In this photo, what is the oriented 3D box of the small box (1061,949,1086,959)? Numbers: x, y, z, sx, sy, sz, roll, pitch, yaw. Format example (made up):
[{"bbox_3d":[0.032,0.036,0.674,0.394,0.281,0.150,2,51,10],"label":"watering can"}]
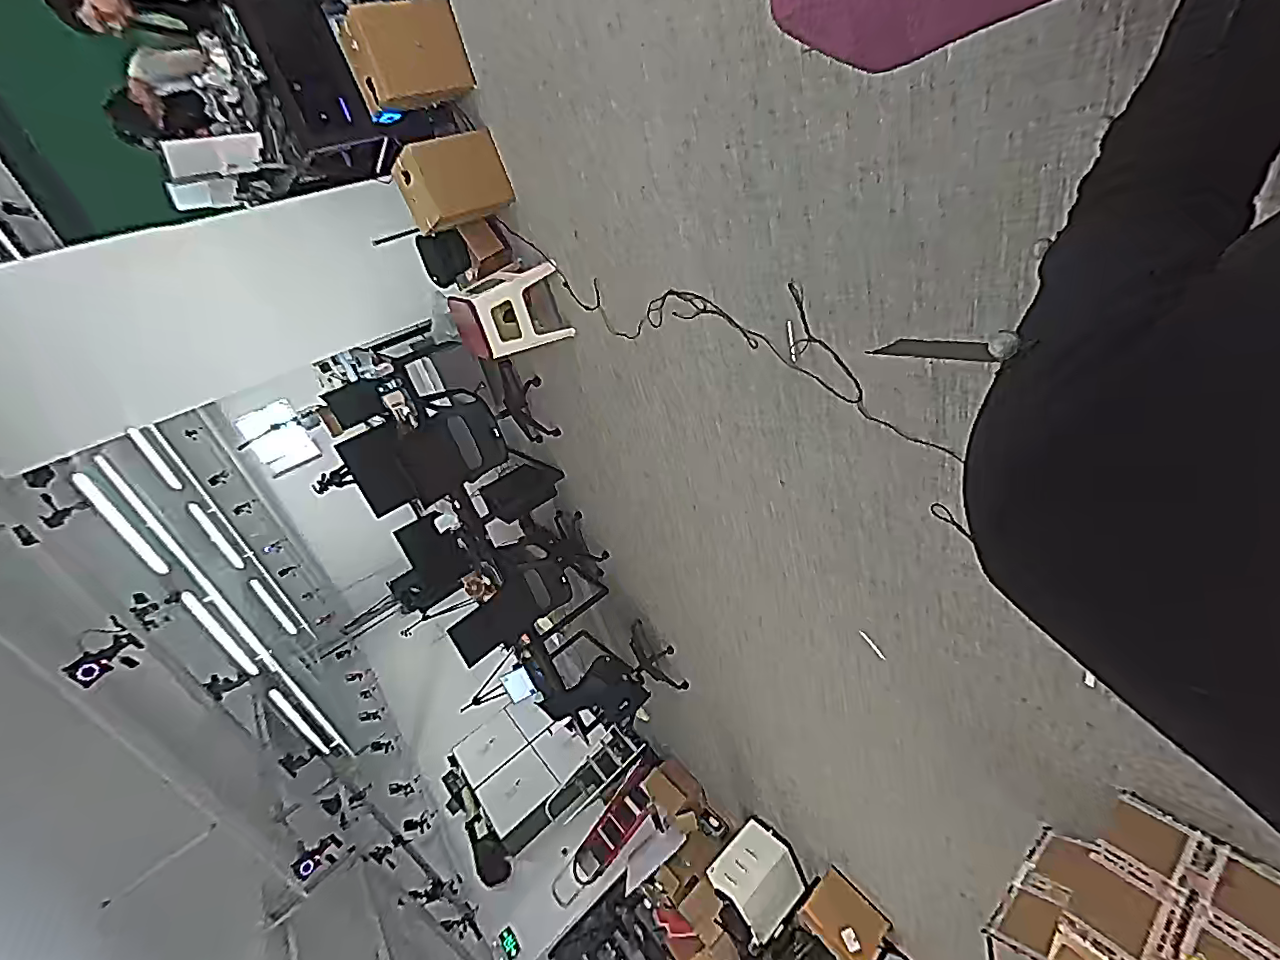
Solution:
[{"bbox_3d":[1.169,1.393,1.407,0.179,0.176,0.168,30,142,47],"label":"small box"}]
